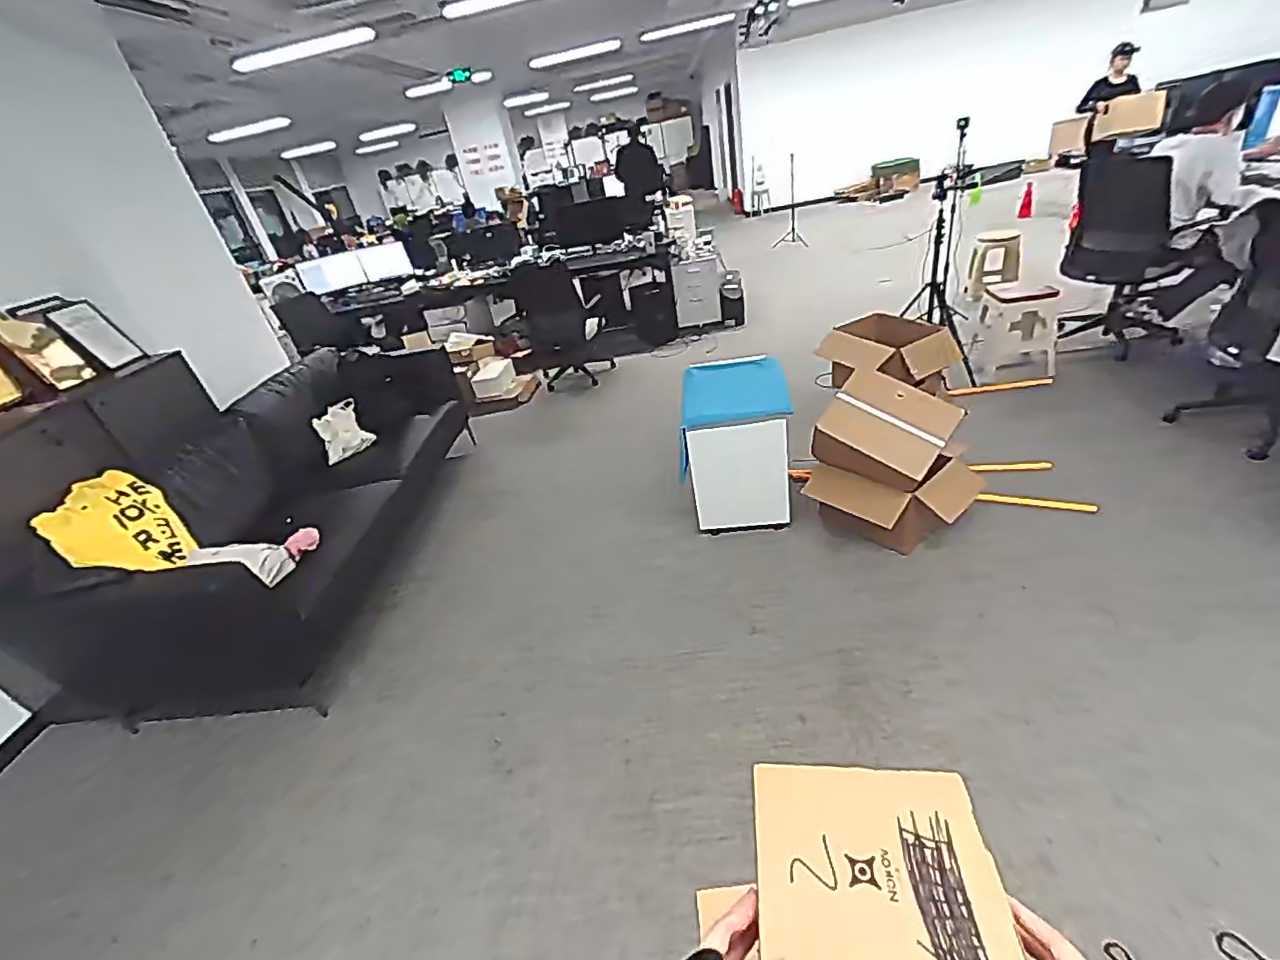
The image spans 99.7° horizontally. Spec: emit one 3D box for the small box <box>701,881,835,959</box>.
[{"bbox_3d":[0.182,0.686,0.732,0.168,0.176,0.179,-11,33,5],"label":"small box"}]
